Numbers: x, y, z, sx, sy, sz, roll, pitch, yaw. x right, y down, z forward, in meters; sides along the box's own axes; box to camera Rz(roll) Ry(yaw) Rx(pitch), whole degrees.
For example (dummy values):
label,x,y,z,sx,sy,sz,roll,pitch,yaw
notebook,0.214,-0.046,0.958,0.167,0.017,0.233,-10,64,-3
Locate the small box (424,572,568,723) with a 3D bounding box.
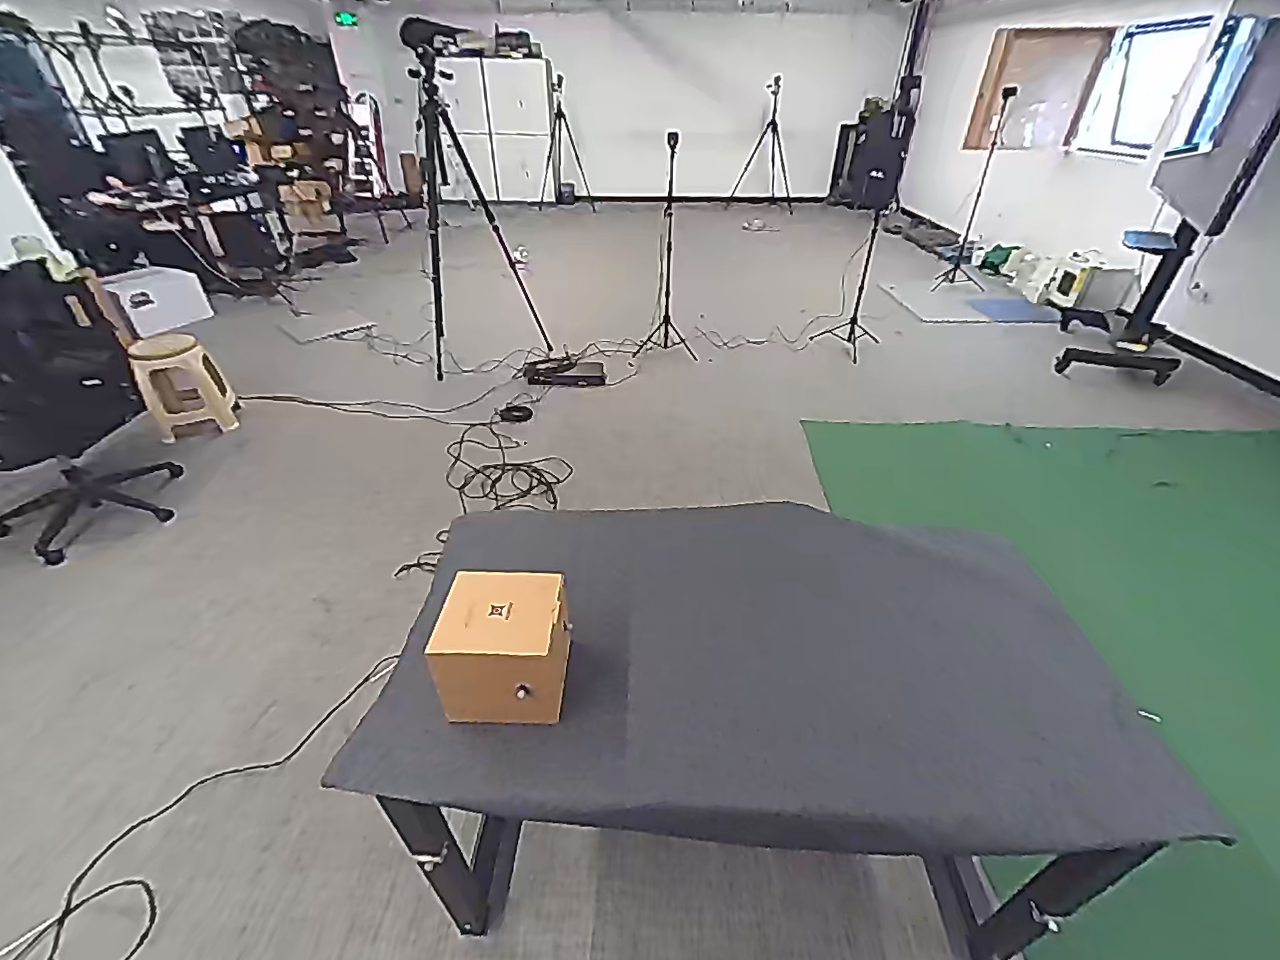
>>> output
label,x,y,z,sx,sy,sz,roll,pitch,yaw
small box,-0.212,0.265,0.858,0.179,0.176,0.168,-1,34,1
